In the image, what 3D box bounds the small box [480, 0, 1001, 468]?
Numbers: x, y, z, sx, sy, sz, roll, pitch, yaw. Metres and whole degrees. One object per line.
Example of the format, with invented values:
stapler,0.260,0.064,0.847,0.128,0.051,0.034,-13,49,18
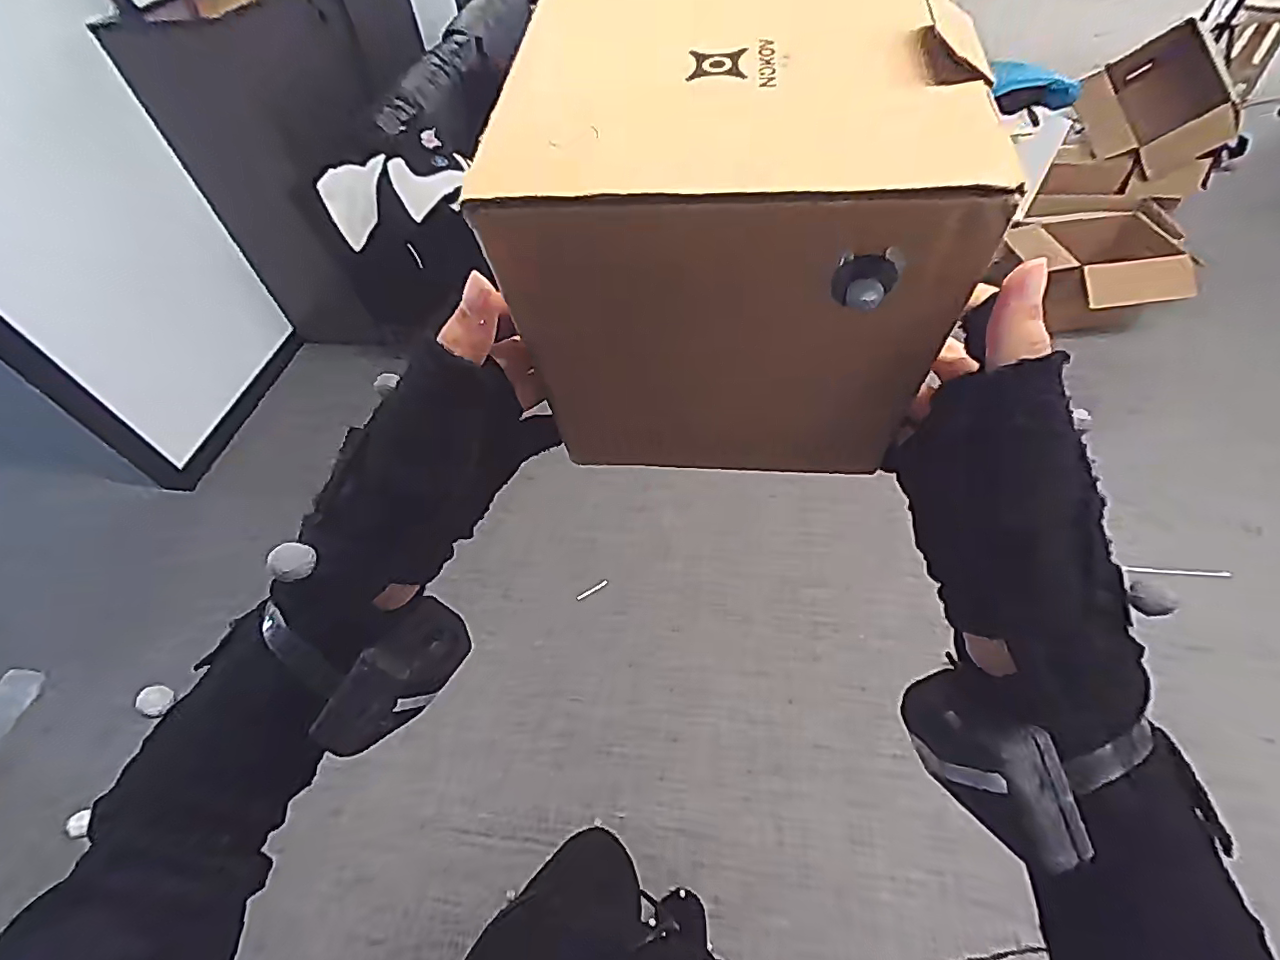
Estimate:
small box,0.044,-0.118,0.287,0.179,0.176,0.168,2,60,7
